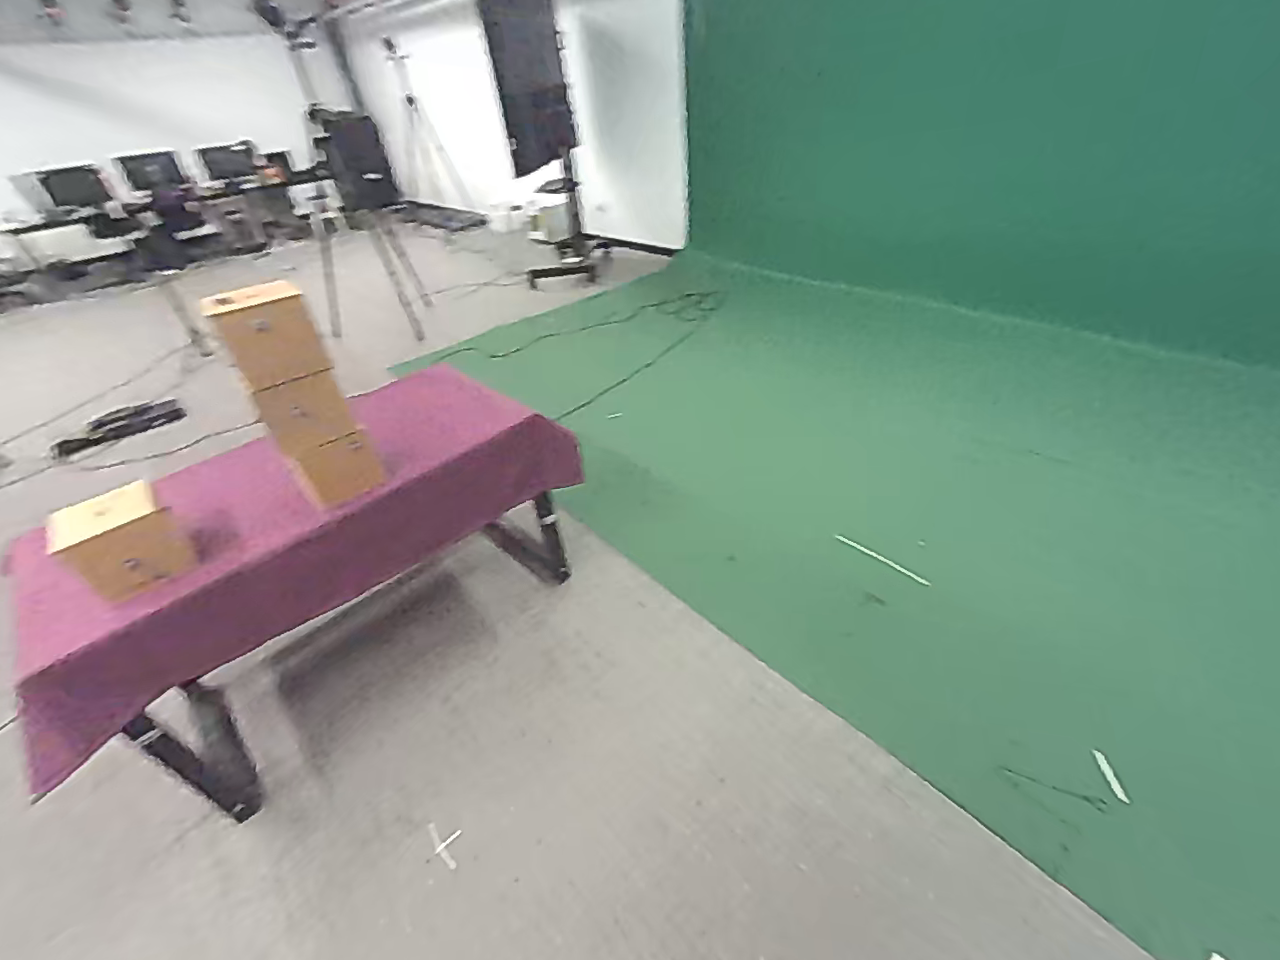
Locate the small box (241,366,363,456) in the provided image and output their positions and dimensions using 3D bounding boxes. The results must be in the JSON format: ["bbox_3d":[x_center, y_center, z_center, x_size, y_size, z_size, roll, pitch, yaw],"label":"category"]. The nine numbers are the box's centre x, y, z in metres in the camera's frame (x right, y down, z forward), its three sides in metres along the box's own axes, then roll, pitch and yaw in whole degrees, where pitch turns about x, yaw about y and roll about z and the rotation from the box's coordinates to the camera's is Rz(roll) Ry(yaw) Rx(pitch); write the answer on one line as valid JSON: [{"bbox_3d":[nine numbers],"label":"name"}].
[{"bbox_3d":[-0.793,-0.180,1.275,0.179,0.176,0.168,-31,43,-27],"label":"small box"}]

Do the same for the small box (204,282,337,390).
[{"bbox_3d":[-0.802,-0.315,1.180,0.179,0.176,0.168,-29,42,-29],"label":"small box"}]

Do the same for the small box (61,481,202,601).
[{"bbox_3d":[-1.100,0.136,1.178,0.168,0.176,0.179,-32,43,-30],"label":"small box"}]

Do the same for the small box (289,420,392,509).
[{"bbox_3d":[-0.772,-0.053,1.378,0.179,0.176,0.168,-33,44,-31],"label":"small box"}]
